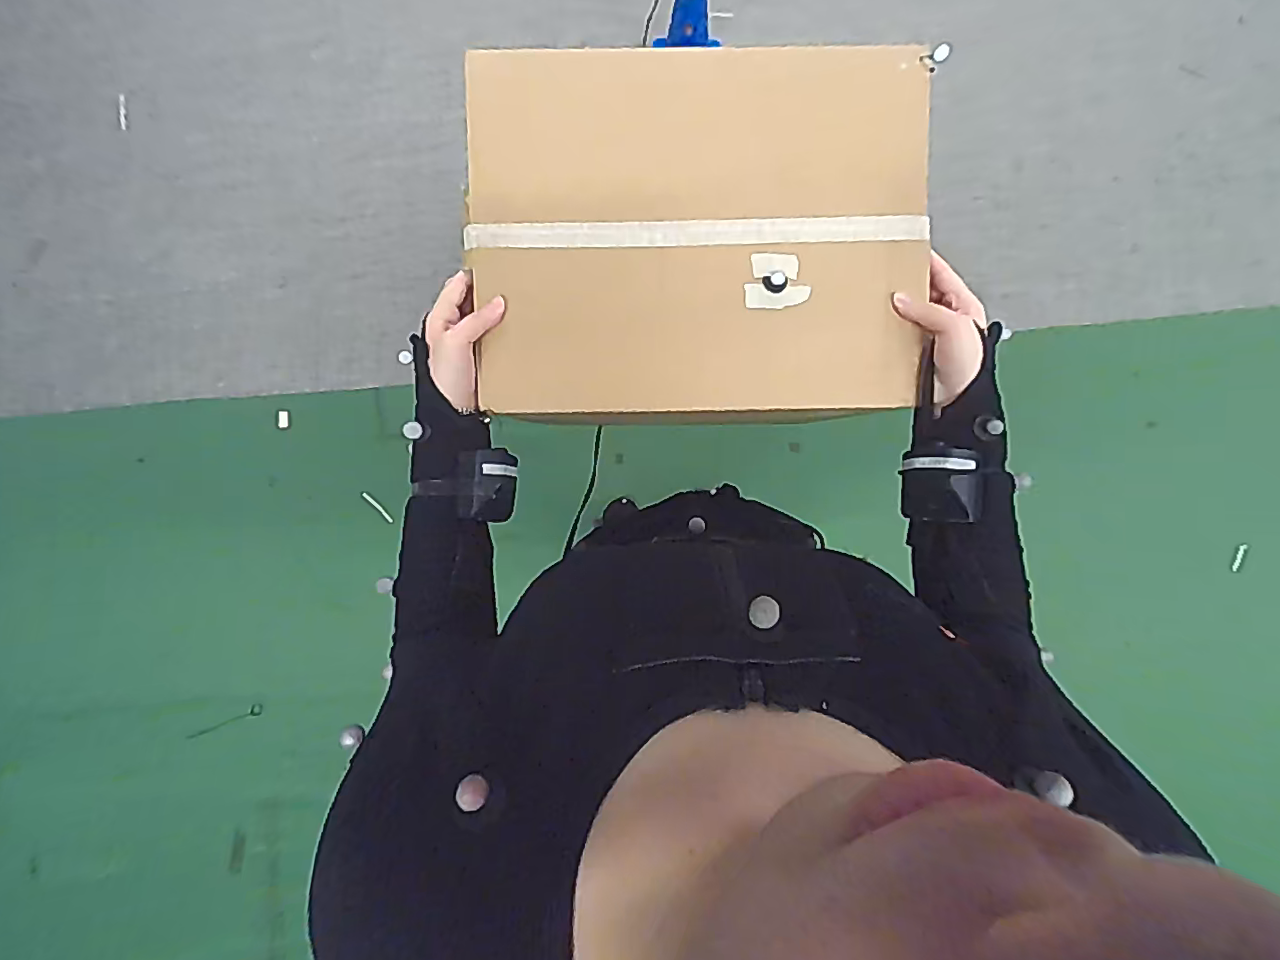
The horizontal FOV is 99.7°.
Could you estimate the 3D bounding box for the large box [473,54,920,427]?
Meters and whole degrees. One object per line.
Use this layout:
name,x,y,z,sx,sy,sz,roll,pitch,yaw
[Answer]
large box,0.050,-0.230,0.636,0.408,0.320,0.320,-1,94,-1
